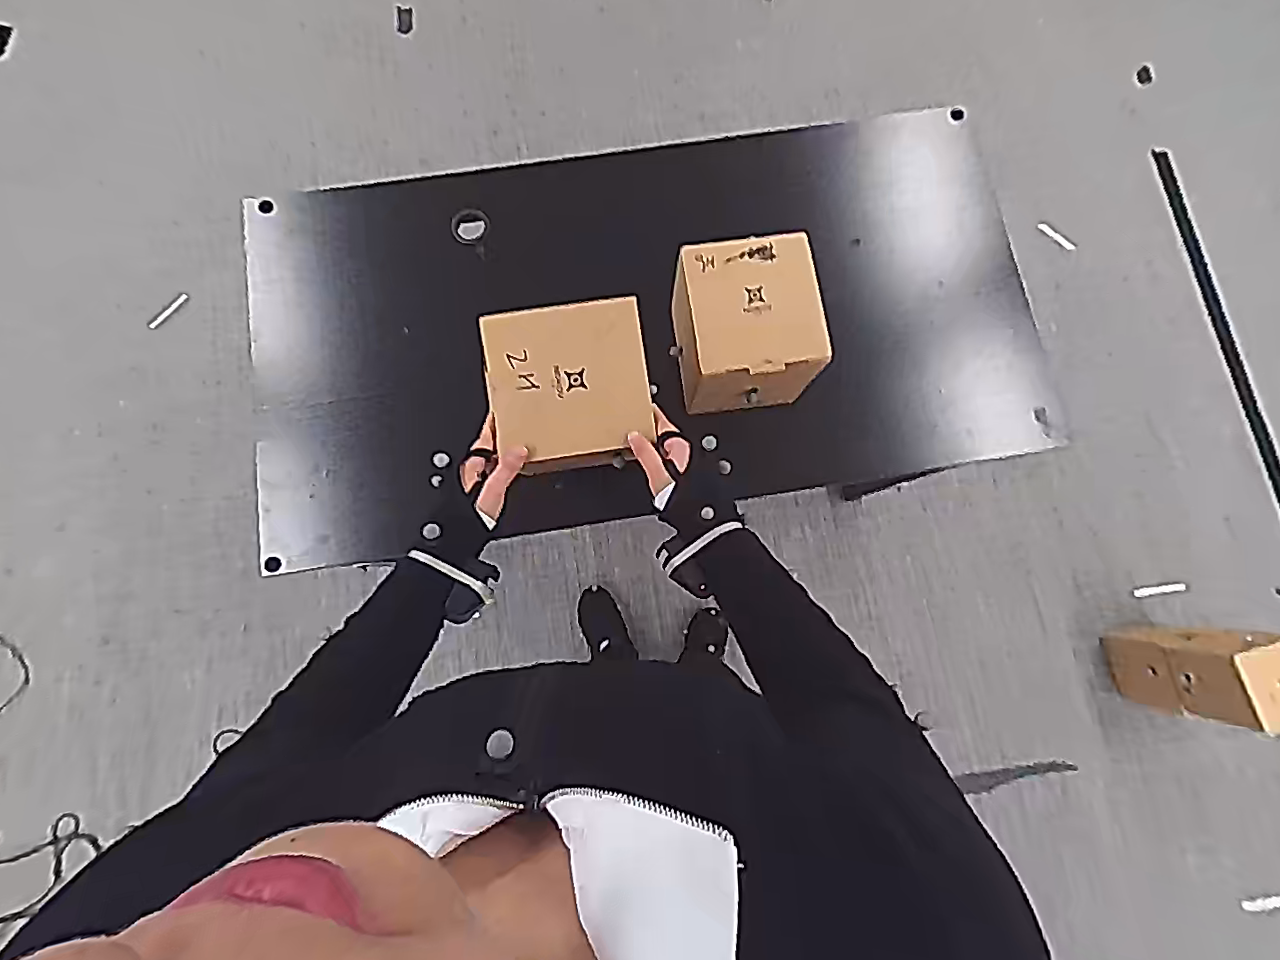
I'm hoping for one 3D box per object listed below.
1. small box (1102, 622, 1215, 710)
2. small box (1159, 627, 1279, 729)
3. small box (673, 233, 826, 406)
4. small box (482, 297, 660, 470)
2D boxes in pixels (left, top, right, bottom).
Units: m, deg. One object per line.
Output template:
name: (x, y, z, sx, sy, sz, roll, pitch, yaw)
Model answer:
small box: (1.357, 0.471, 1.397, 0.168, 0.176, 0.179, -12, 81, -3)
small box: (1.370, 0.442, 1.237, 0.179, 0.176, 0.168, -15, 80, -2)
small box: (0.141, -0.211, 0.756, 0.168, 0.176, 0.179, -7, 81, -2)
small box: (-0.077, -0.106, 0.660, 0.179, 0.176, 0.168, -8, 88, -2)
